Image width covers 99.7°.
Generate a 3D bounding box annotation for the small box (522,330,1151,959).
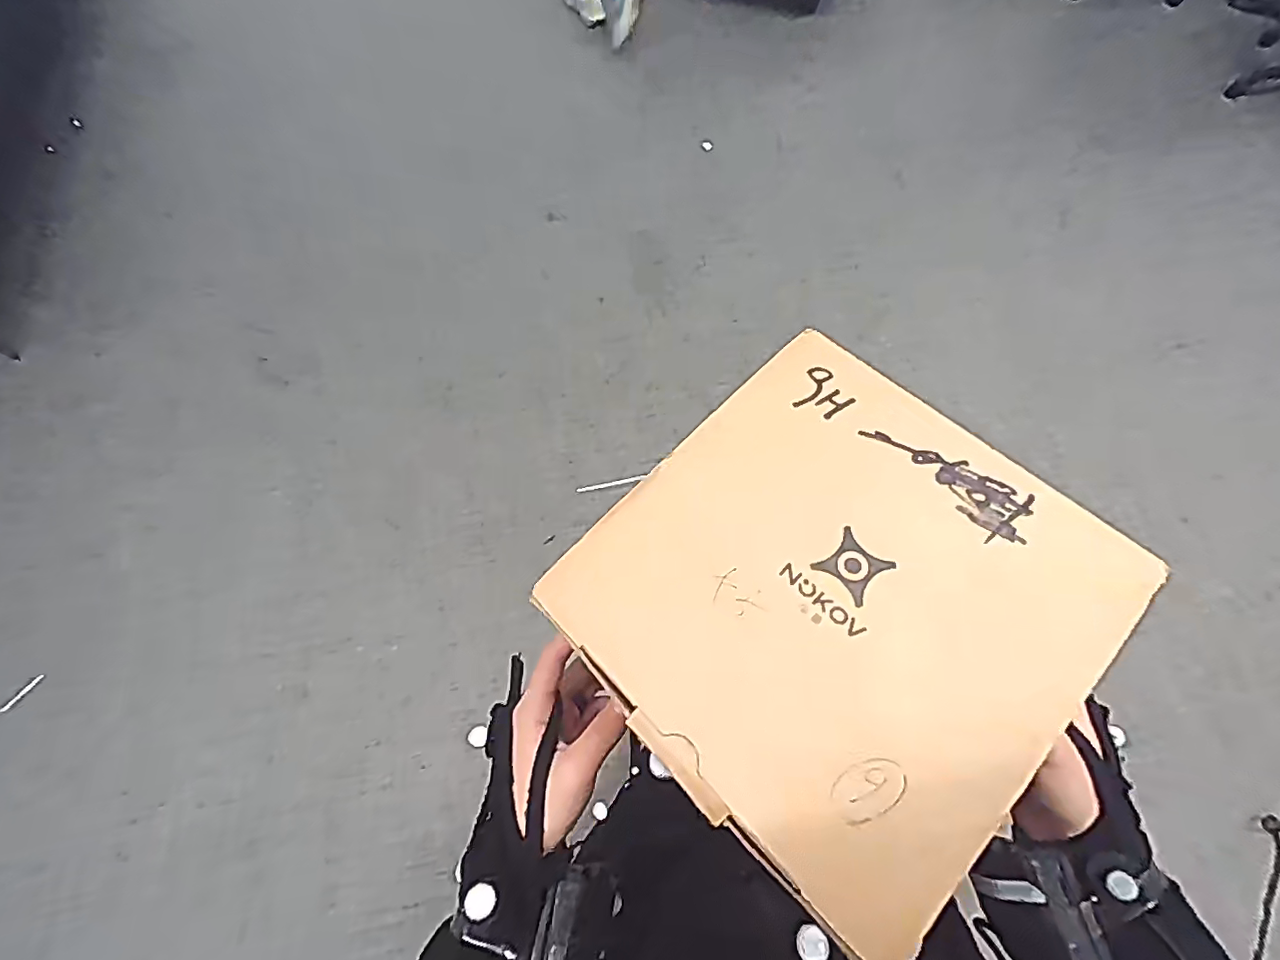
[{"bbox_3d":[0.077,0.069,0.277,0.179,0.176,0.168,-44,69,-12],"label":"small box"}]
